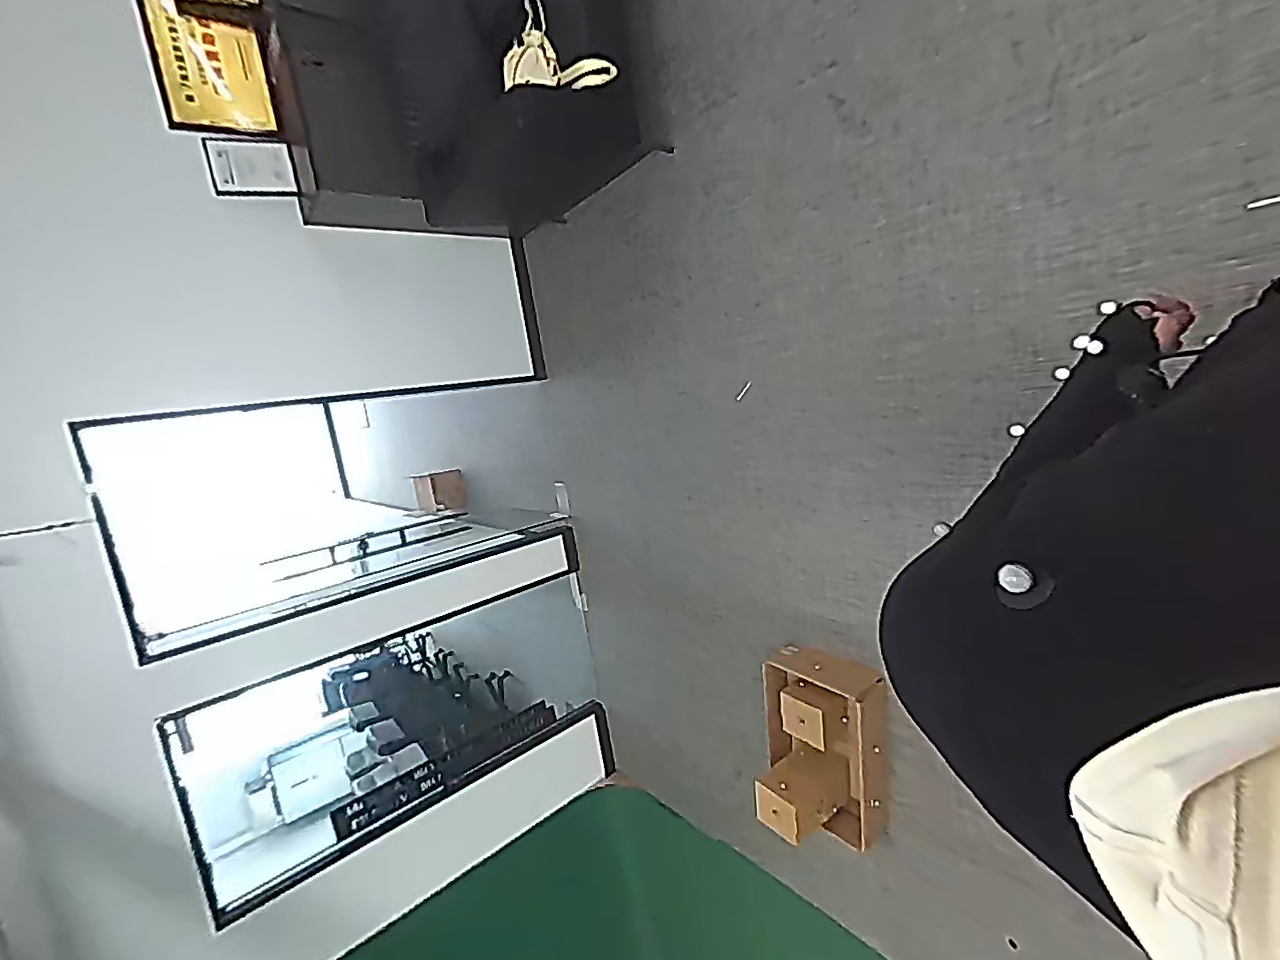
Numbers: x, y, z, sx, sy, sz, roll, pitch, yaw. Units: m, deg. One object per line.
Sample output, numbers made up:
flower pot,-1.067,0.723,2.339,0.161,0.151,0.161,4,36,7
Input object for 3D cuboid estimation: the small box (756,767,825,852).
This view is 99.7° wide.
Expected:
small box,0.538,1.166,1.936,0.179,0.176,0.168,9,107,51

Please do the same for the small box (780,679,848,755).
small box,0.638,0.855,1.975,0.179,0.176,0.168,8,109,50
